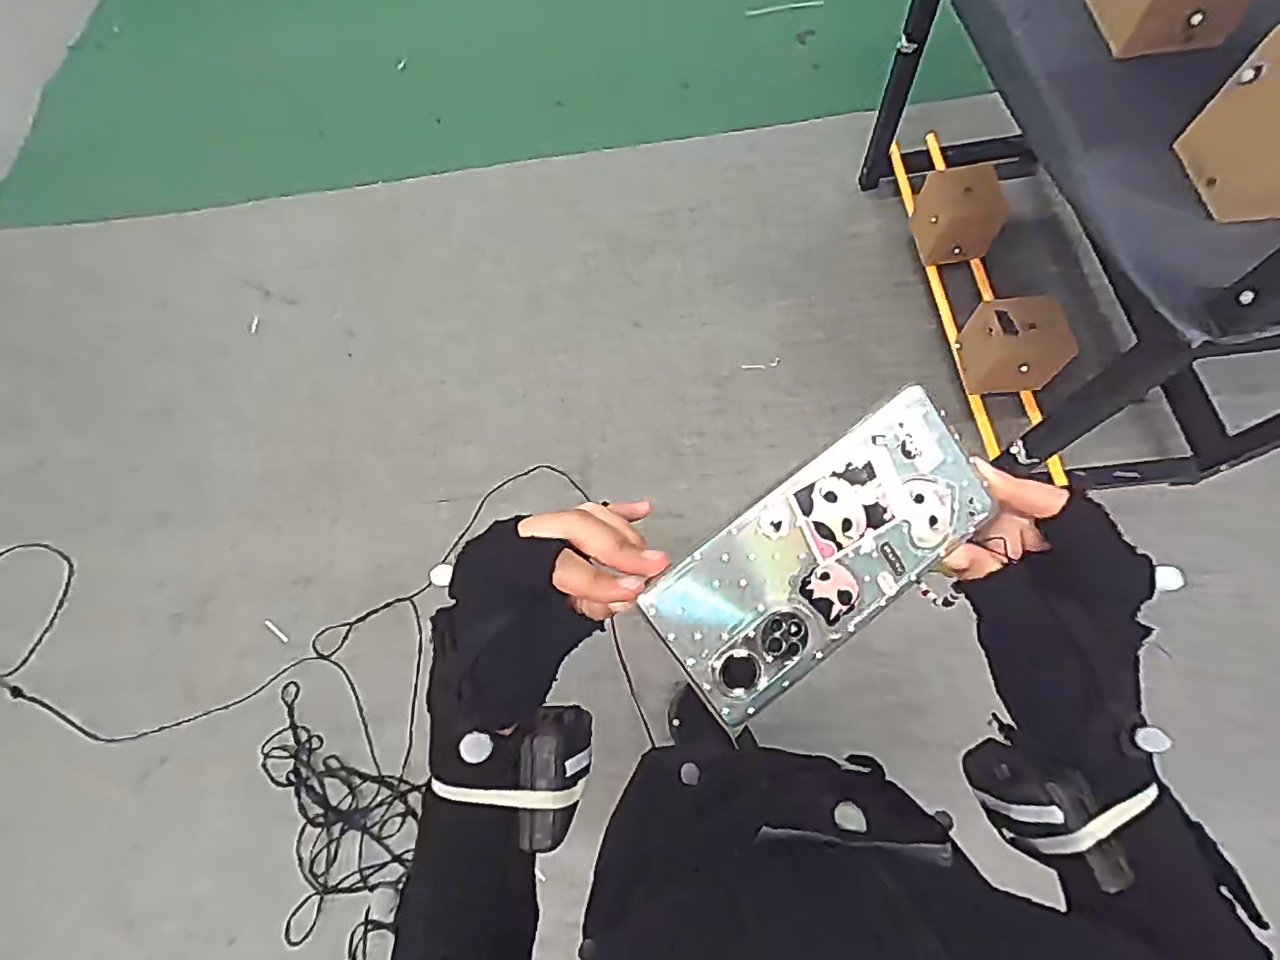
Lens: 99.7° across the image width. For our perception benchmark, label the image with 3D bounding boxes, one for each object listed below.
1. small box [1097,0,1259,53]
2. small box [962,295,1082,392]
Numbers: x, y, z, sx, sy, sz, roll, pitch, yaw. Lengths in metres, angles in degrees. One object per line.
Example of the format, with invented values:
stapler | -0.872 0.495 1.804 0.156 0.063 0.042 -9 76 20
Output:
small box | 0.877 -0.825 0.856 0.168 0.176 0.179 -3 68 6
small box | 0.922 -0.328 1.329 0.179 0.176 0.168 -3 69 6
